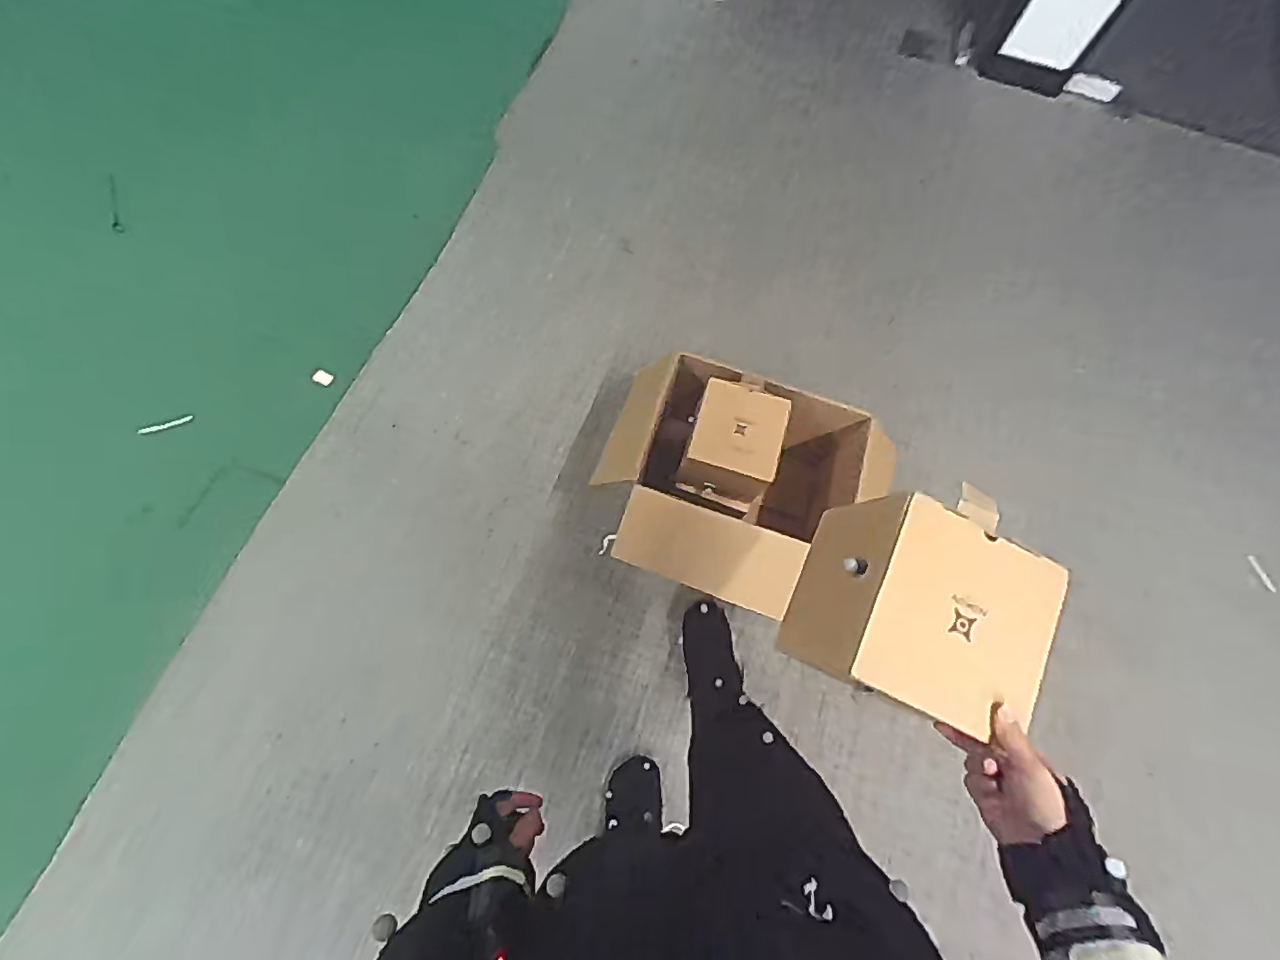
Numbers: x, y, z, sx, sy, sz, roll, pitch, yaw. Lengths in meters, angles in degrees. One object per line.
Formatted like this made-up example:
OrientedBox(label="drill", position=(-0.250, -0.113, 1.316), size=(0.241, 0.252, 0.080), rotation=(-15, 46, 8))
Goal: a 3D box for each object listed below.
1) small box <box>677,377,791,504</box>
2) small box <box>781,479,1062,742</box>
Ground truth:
OrientedBox(label="small box", position=(0.180, -0.072, 1.082), size=(0.168, 0.176, 0.179), rotation=(18, 73, 1))
OrientedBox(label="small box", position=(0.264, 0.125, 0.546), size=(0.168, 0.176, 0.179), rotation=(26, 76, -3))
